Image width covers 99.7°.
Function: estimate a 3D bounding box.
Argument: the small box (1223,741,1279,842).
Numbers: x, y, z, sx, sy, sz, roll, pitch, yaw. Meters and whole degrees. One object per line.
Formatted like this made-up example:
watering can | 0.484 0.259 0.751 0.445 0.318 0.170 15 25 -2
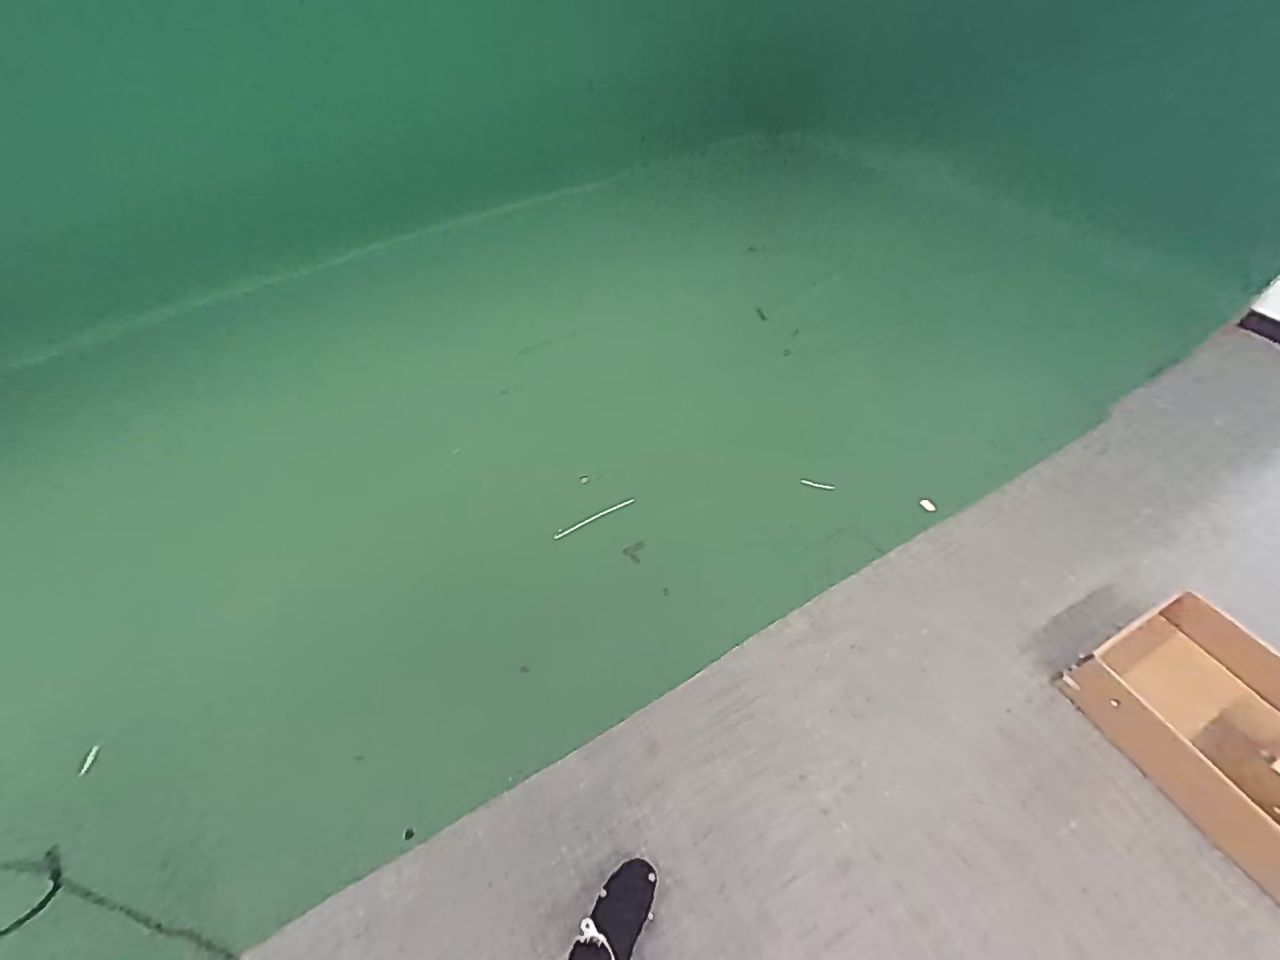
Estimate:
small box | 1.485 0.698 1.208 0.179 0.176 0.168 -24 53 -14
